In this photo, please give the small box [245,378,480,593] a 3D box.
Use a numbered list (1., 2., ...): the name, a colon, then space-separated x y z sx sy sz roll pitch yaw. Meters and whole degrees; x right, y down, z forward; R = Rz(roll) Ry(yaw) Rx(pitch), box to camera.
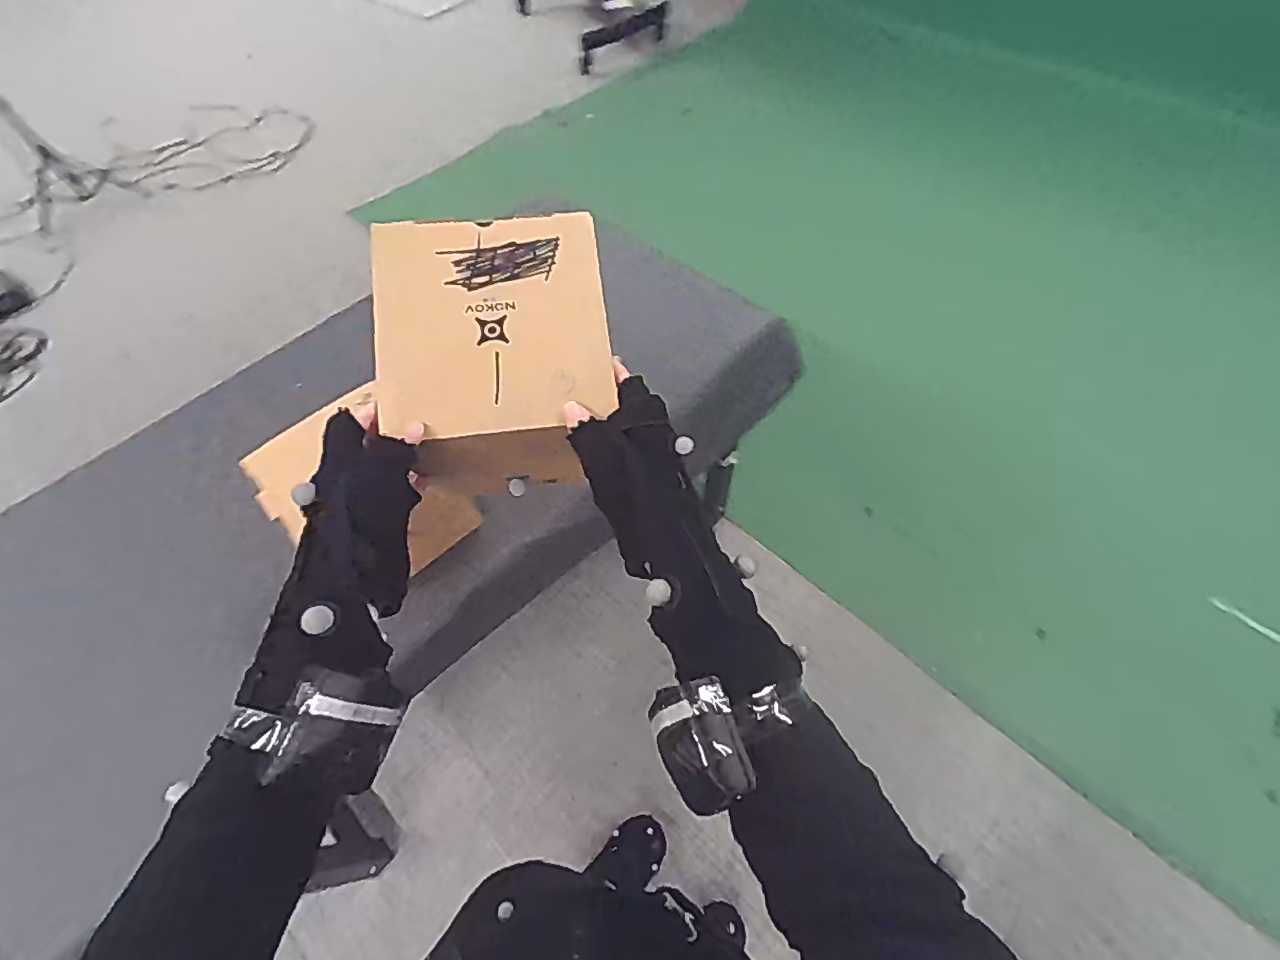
1. small box: -0.336 0.013 0.686 0.179 0.176 0.168 -40 64 -19
